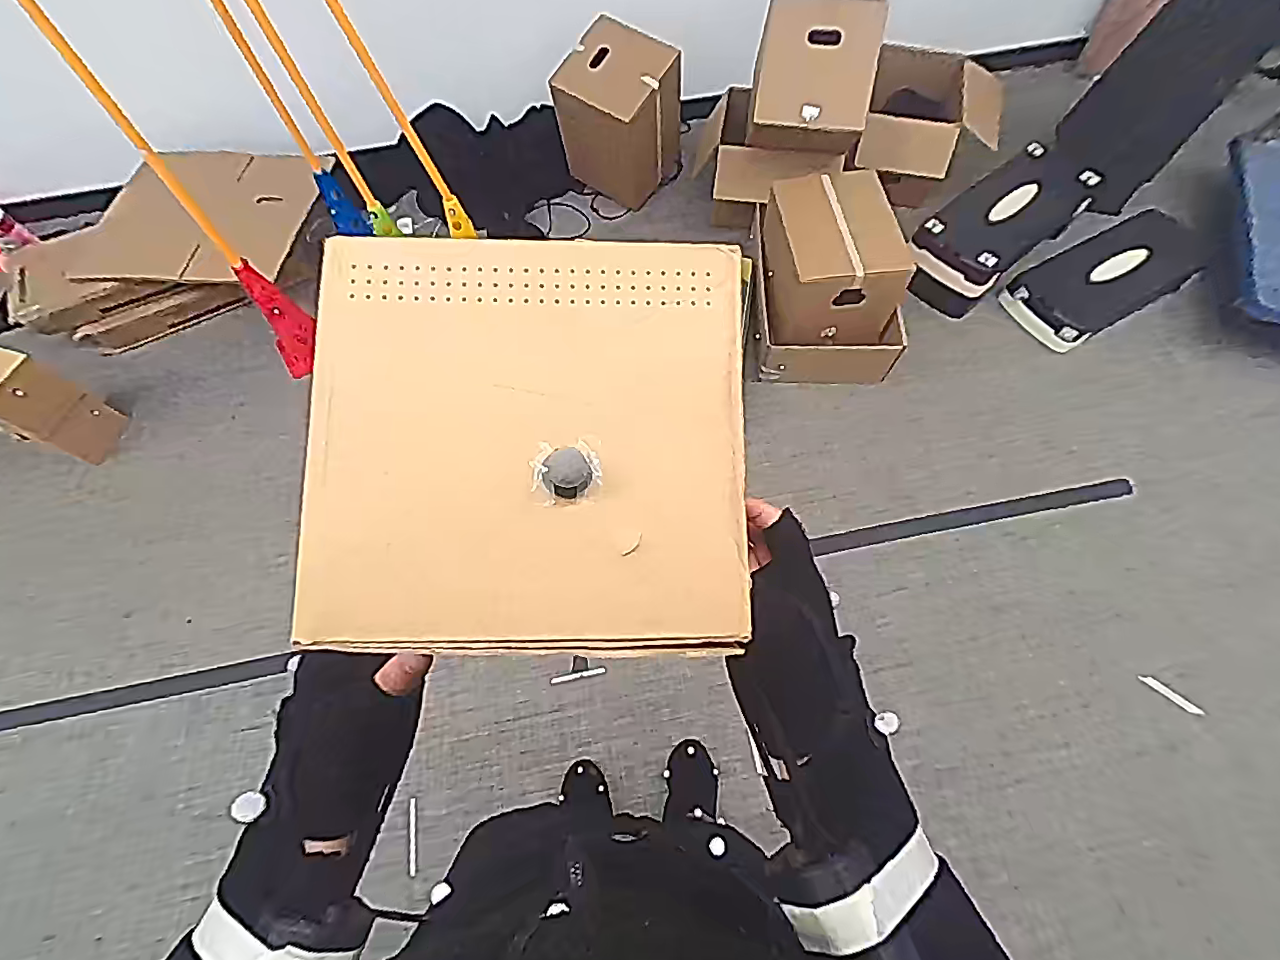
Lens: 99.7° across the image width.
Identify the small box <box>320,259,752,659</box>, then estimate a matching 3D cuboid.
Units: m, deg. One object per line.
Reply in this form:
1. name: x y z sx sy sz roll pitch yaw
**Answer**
1. small box: -0.046 -0.005 0.302 0.179 0.168 0.176 0 81 -3
